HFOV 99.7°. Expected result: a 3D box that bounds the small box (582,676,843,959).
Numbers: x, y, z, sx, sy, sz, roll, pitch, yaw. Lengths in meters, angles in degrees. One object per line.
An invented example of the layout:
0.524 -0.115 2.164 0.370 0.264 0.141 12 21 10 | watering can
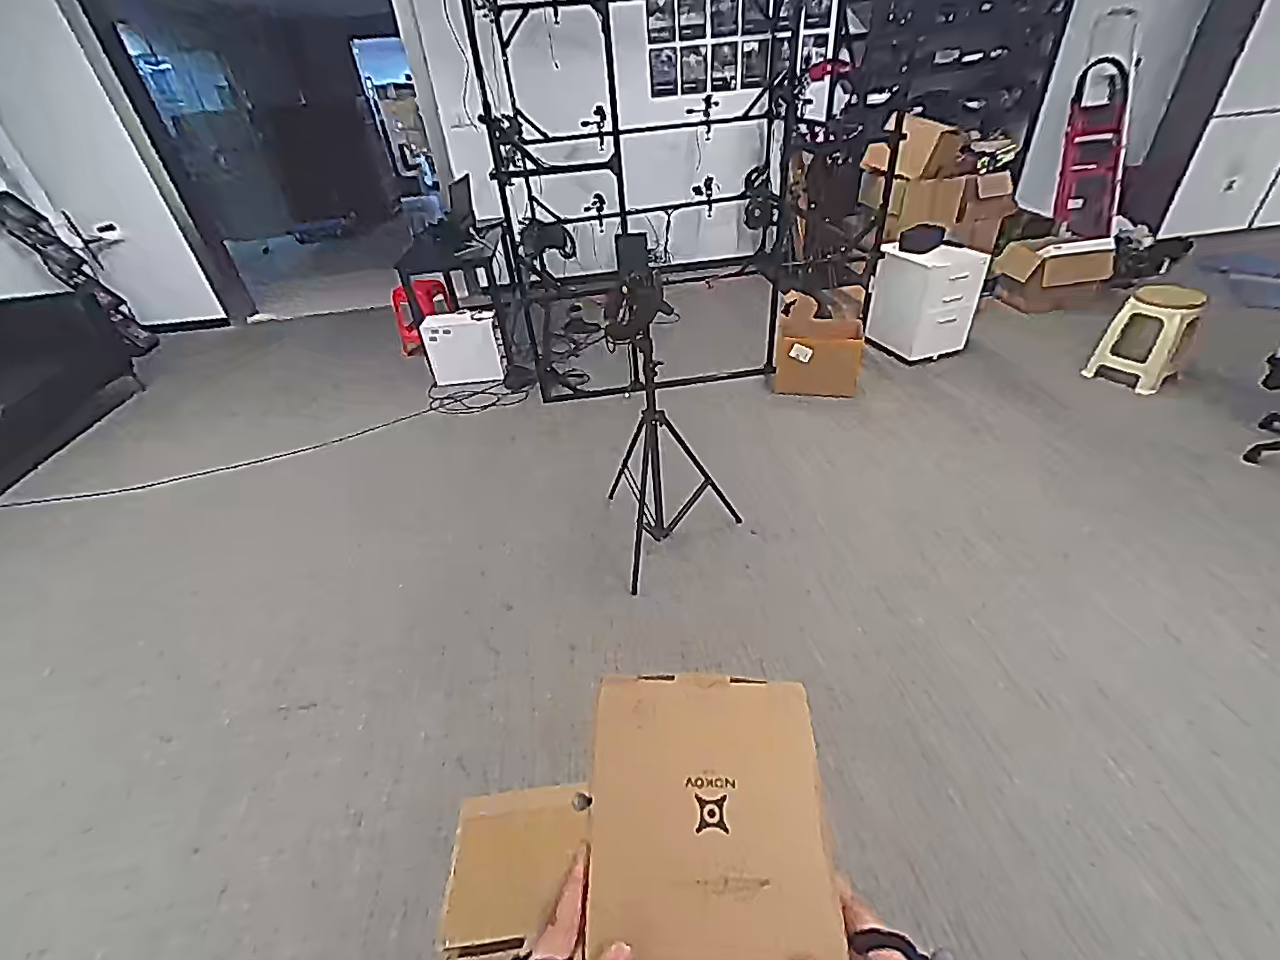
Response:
0.039 0.276 0.445 0.168 0.176 0.179 2 55 -4 | small box
